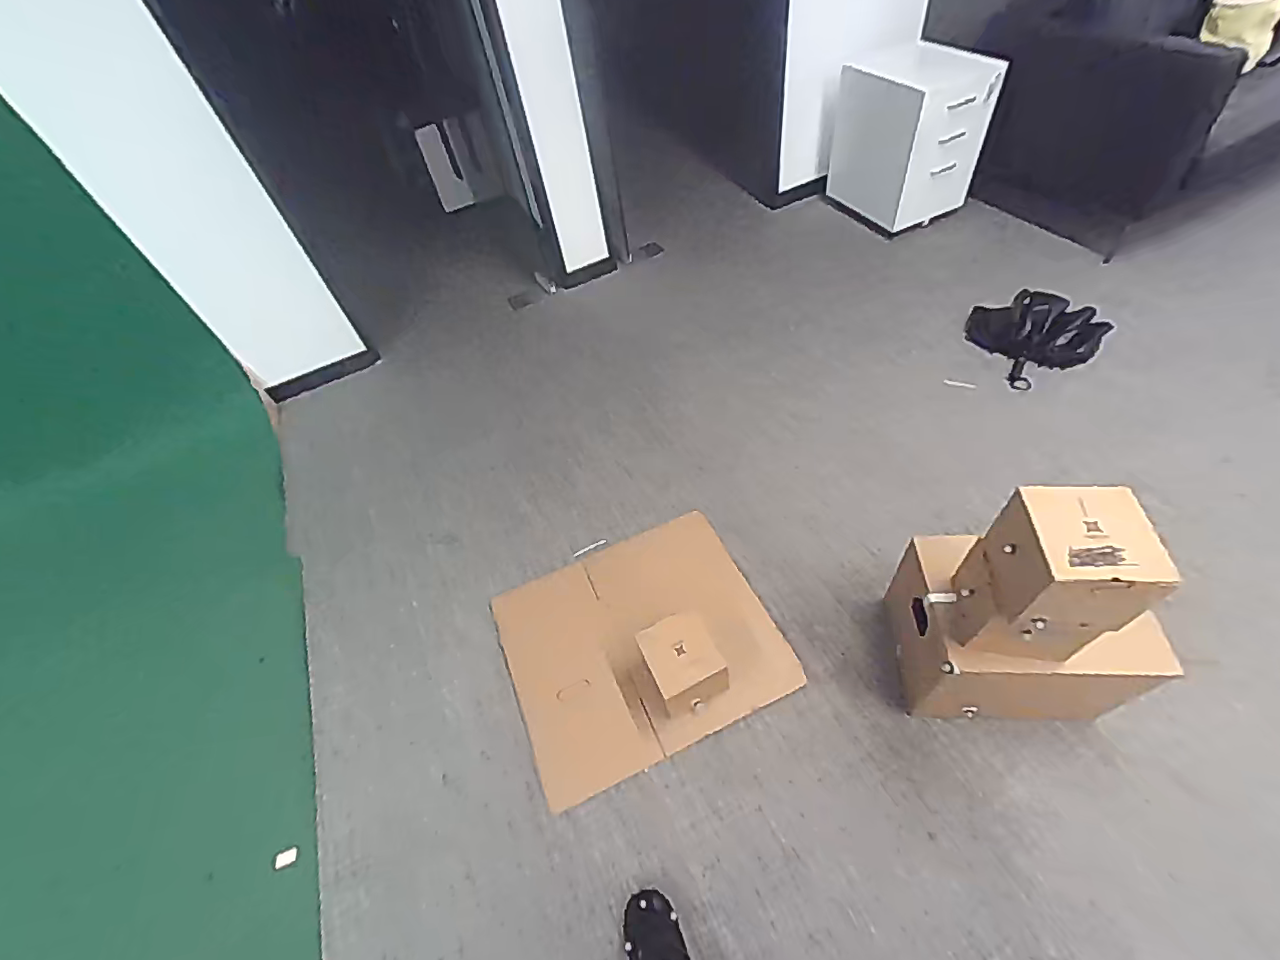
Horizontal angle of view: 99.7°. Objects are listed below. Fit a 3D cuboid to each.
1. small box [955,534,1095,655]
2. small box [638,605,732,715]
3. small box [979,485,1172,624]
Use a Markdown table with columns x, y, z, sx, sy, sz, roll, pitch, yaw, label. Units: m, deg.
| x | y | z | sx | sy | sz | roll | pitch | yaw | label |
| --- | --- | --- | --- | --- | --- | --- | --- | --- | --- |
| 0.724 | 0.221 | 1.032 | 0.179 | 0.176 | 0.168 | 3 | 51 | 11 | small box |
| 0.113 | 0.447 | 1.337 | 0.168 | 0.176 | 0.179 | -26 | 52 | -8 | small box |
| 0.698 | 0.129 | 0.894 | 0.168 | 0.176 | 0.179 | -3 | 53 | 9 | small box |
